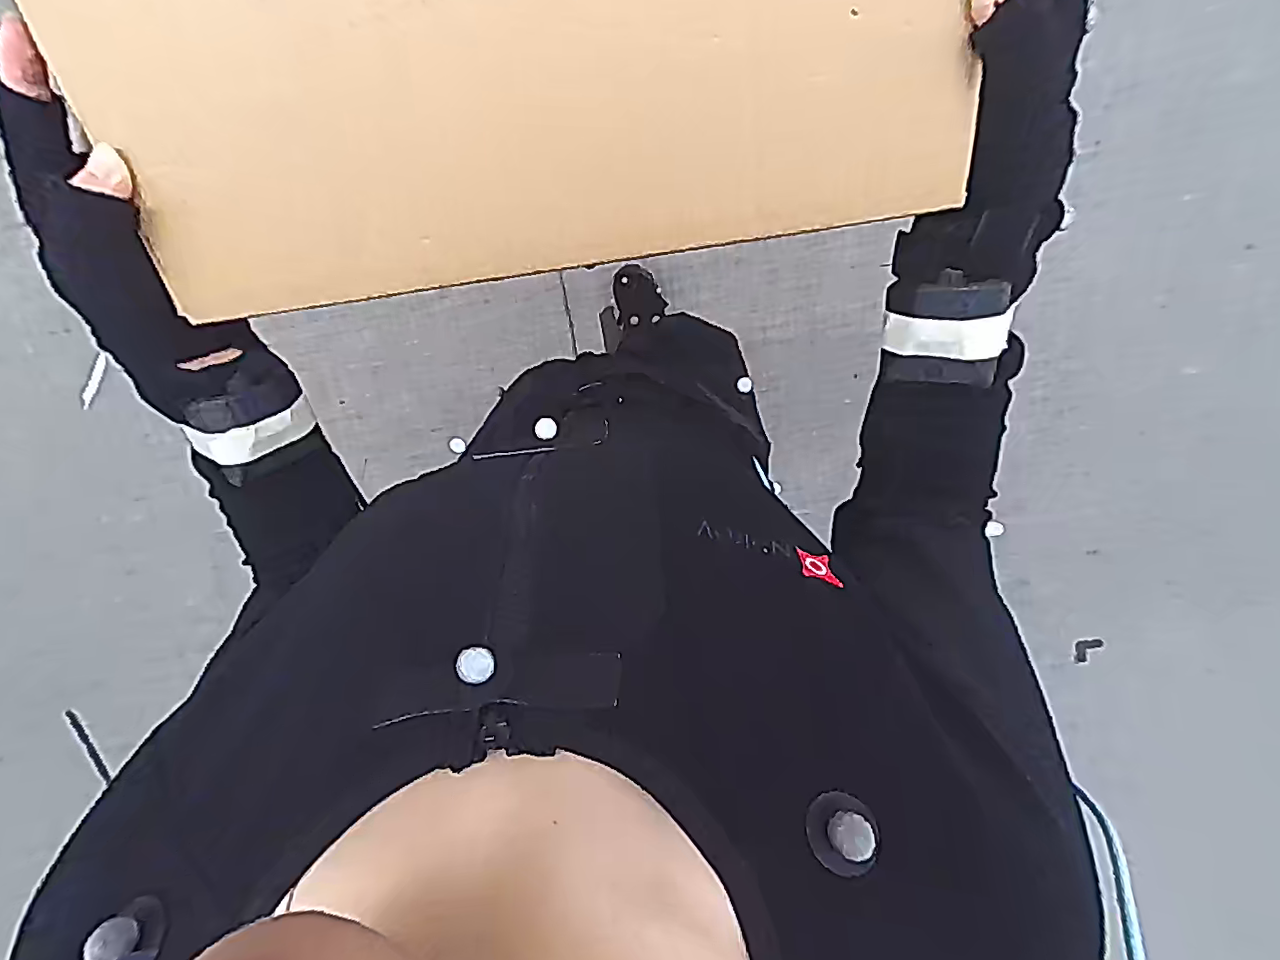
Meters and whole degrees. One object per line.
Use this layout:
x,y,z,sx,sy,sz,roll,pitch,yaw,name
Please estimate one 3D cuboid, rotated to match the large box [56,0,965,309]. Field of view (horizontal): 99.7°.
-0.065,-0.323,0.349,0.408,0.320,0.320,-7,118,4,large box
